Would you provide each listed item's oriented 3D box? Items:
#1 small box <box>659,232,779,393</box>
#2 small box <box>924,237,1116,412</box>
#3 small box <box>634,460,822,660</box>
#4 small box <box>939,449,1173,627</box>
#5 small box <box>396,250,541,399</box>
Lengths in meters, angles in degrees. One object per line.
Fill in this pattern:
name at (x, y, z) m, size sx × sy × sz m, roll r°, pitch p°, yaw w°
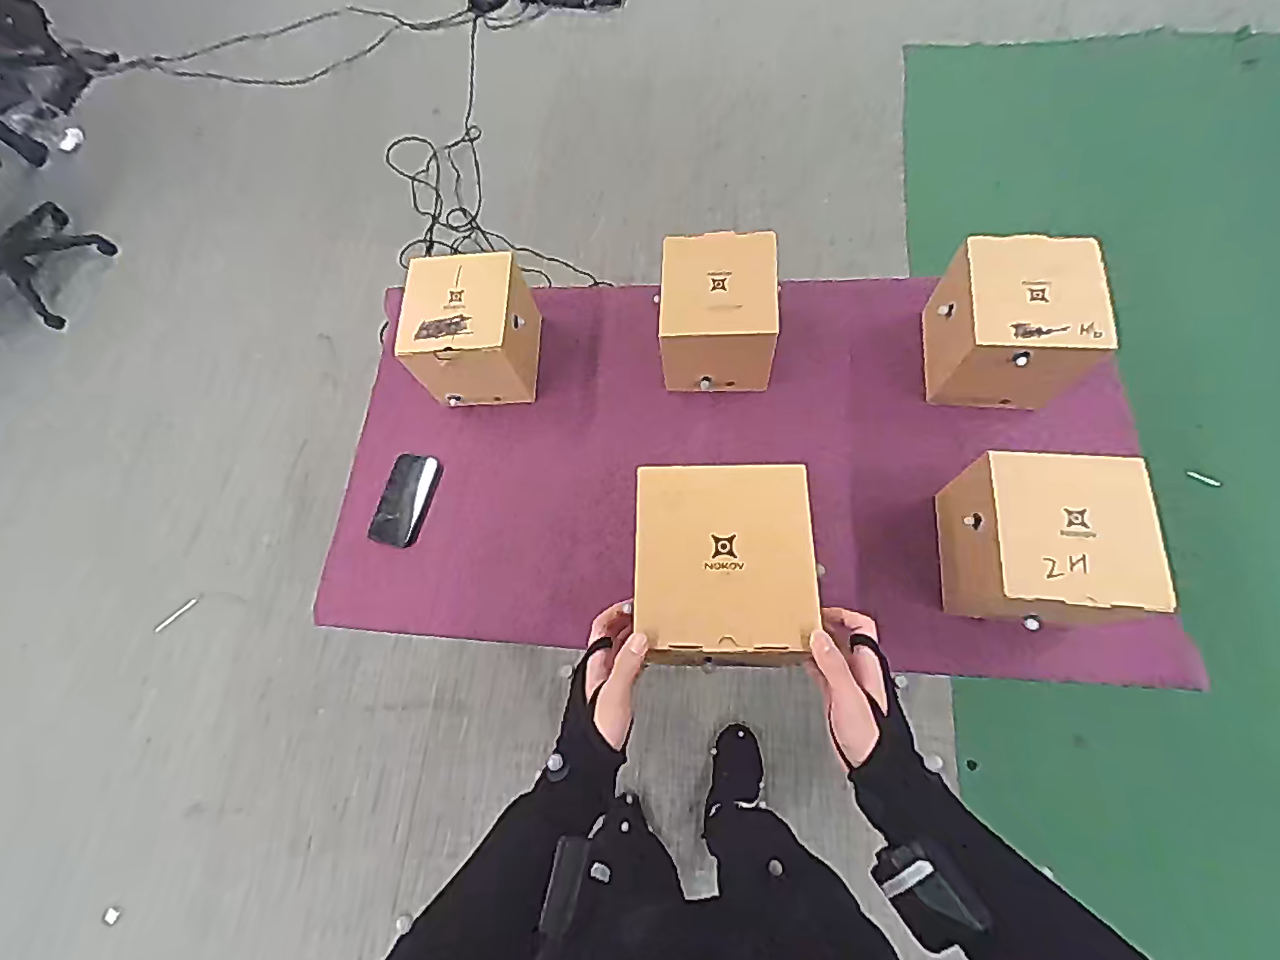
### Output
small box at (0.122, -0.254, 0.842) m, size 0.168 × 0.176 × 0.179 m, roll 1°, pitch 71°, yaw 8°
small box at (0.526, -0.219, 0.780) m, size 0.168 × 0.176 × 0.179 m, roll 5°, pitch 70°, yaw 9°
small box at (0.083, 0.091, 0.573) m, size 0.168 × 0.176 × 0.179 m, roll 0°, pitch 68°, yaw 4°
small box at (0.490, 0.077, 0.672) m, size 0.168 × 0.176 × 0.179 m, roll 4°, pitch 71°, yaw 10°
small box at (-0.265, -0.241, 0.880) m, size 0.168 × 0.176 × 0.179 m, roll -1°, pitch 69°, yaw 6°
